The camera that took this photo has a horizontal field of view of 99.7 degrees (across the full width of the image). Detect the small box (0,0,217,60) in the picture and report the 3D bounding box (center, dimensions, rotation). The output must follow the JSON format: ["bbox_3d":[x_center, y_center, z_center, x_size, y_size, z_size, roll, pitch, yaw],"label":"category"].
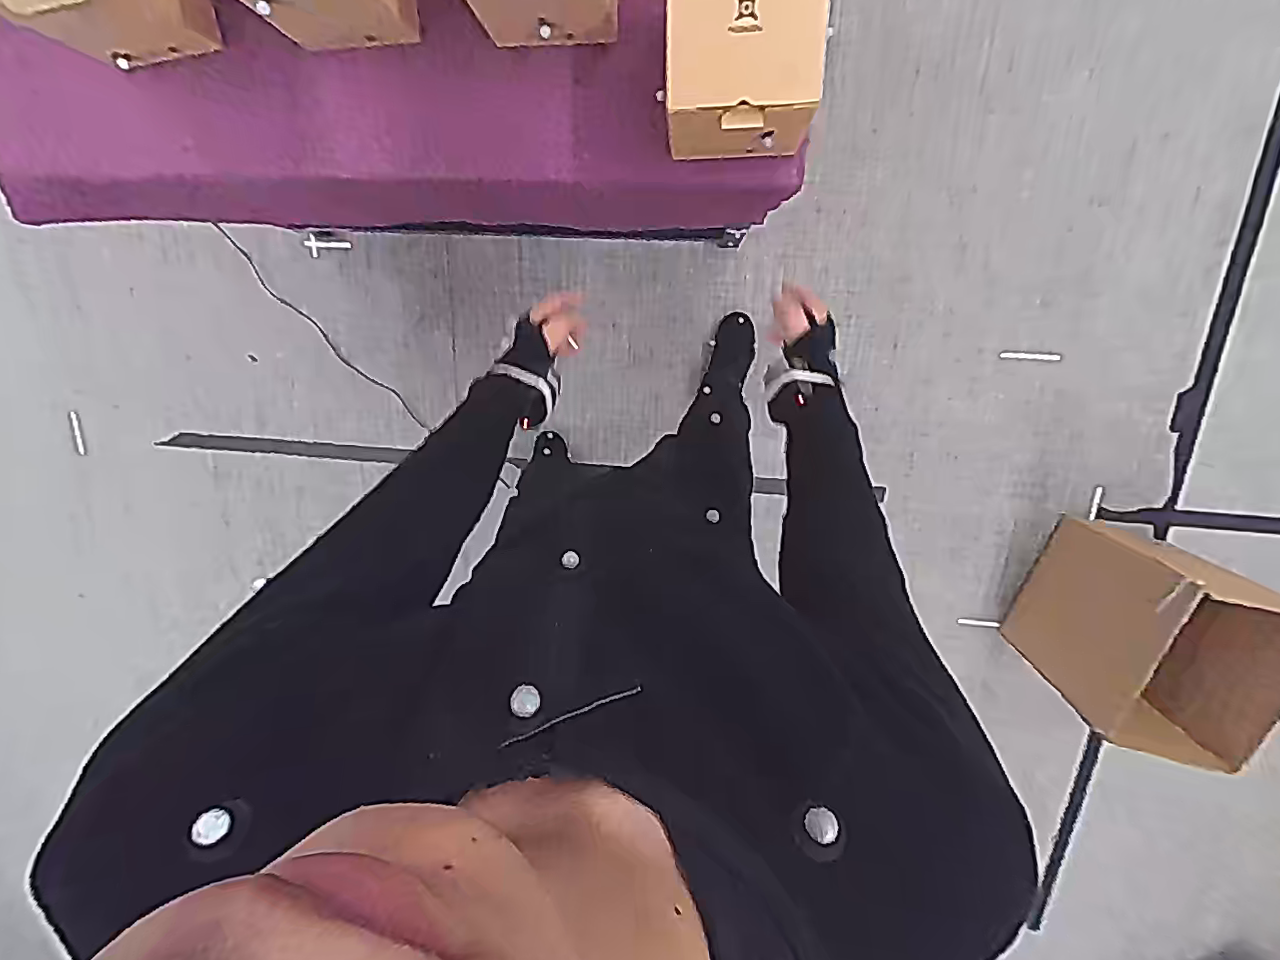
[{"bbox_3d":[-0.667,-0.647,0.653,0.168,0.176,0.179,-6,104,6],"label":"small box"}]

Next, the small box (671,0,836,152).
[{"bbox_3d":[0.123,-0.497,0.623,0.168,0.176,0.179,1,105,5],"label":"small box"}]

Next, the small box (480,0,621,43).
[{"bbox_3d":[-0.111,-0.635,0.606,0.168,0.176,0.179,2,106,5],"label":"small box"}]
